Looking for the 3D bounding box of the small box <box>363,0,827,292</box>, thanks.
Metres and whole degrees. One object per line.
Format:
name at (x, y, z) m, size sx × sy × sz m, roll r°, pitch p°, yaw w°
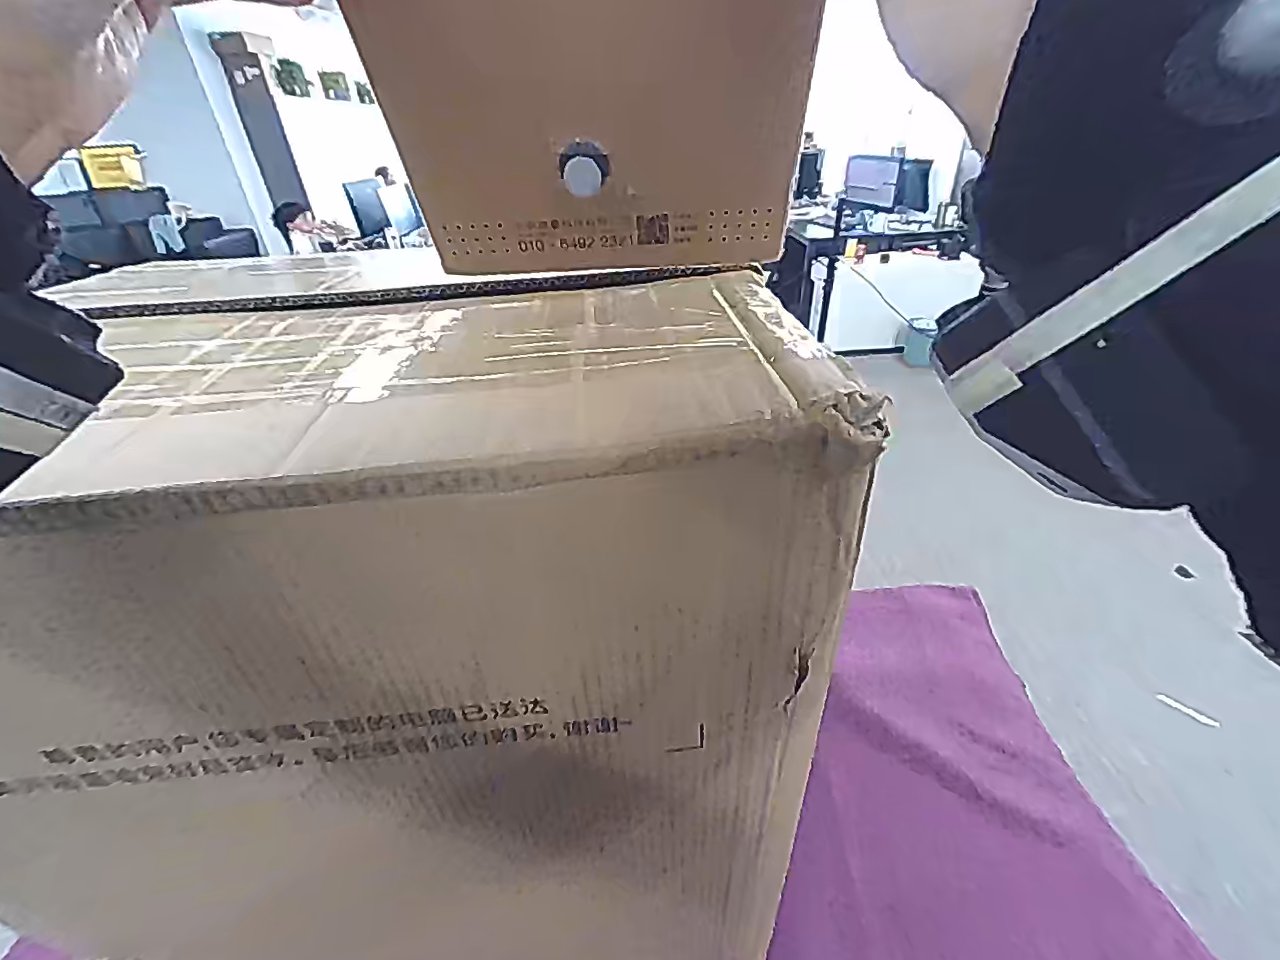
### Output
small box at (-0.017, -0.212, 0.254) m, size 0.168 × 0.176 × 0.179 m, roll -2°, pitch 56°, yaw 3°
